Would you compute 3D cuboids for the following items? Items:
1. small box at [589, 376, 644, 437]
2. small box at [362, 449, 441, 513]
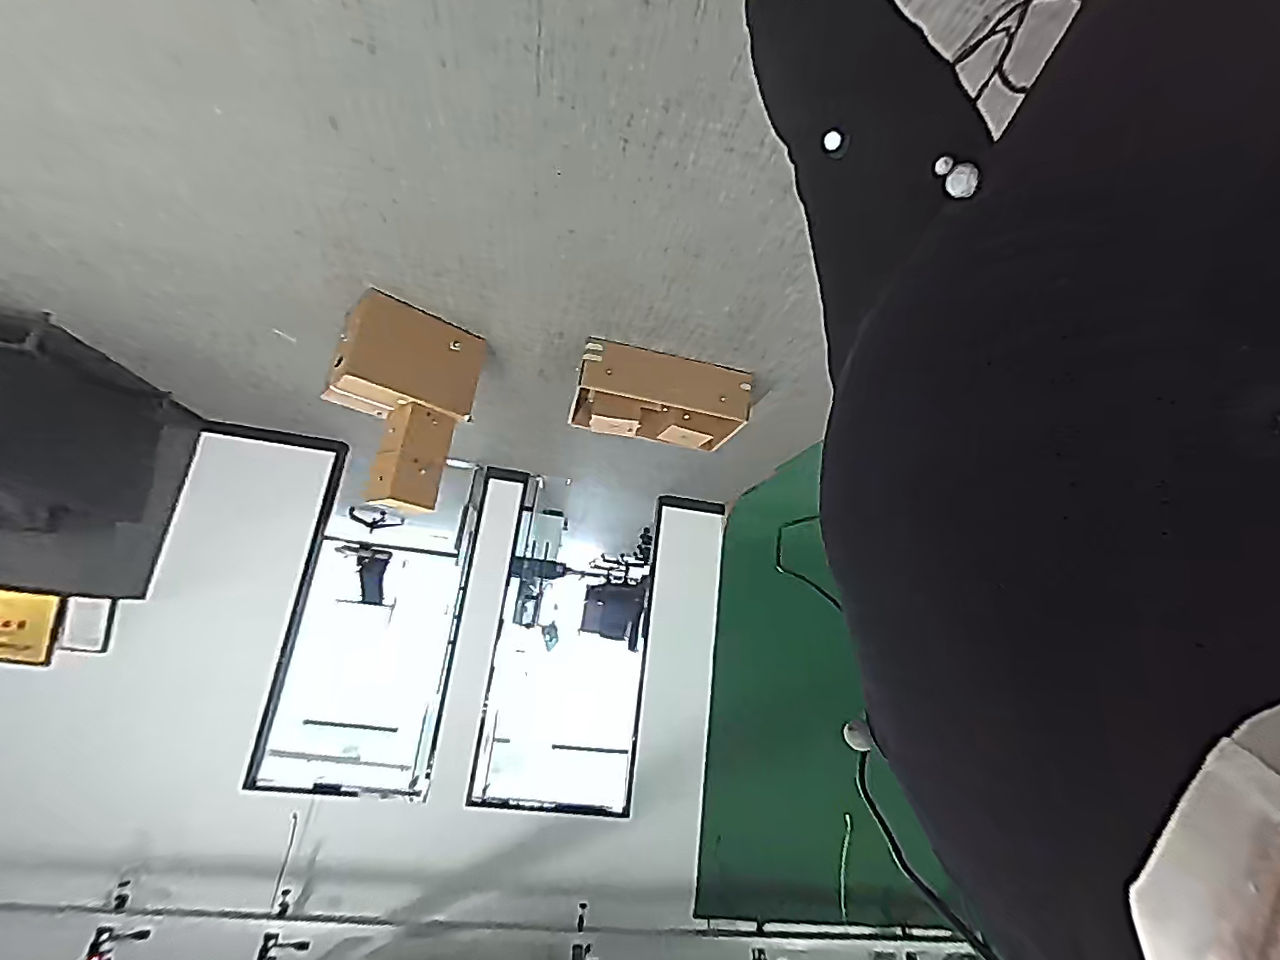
[{"bbox_3d":[-0.091,-0.279,2.043,0.179,0.176,0.168,9,164,-6],"label":"small box"},{"bbox_3d":[-0.794,0.007,1.811,0.179,0.176,0.168,-7,159,37],"label":"small box"}]
